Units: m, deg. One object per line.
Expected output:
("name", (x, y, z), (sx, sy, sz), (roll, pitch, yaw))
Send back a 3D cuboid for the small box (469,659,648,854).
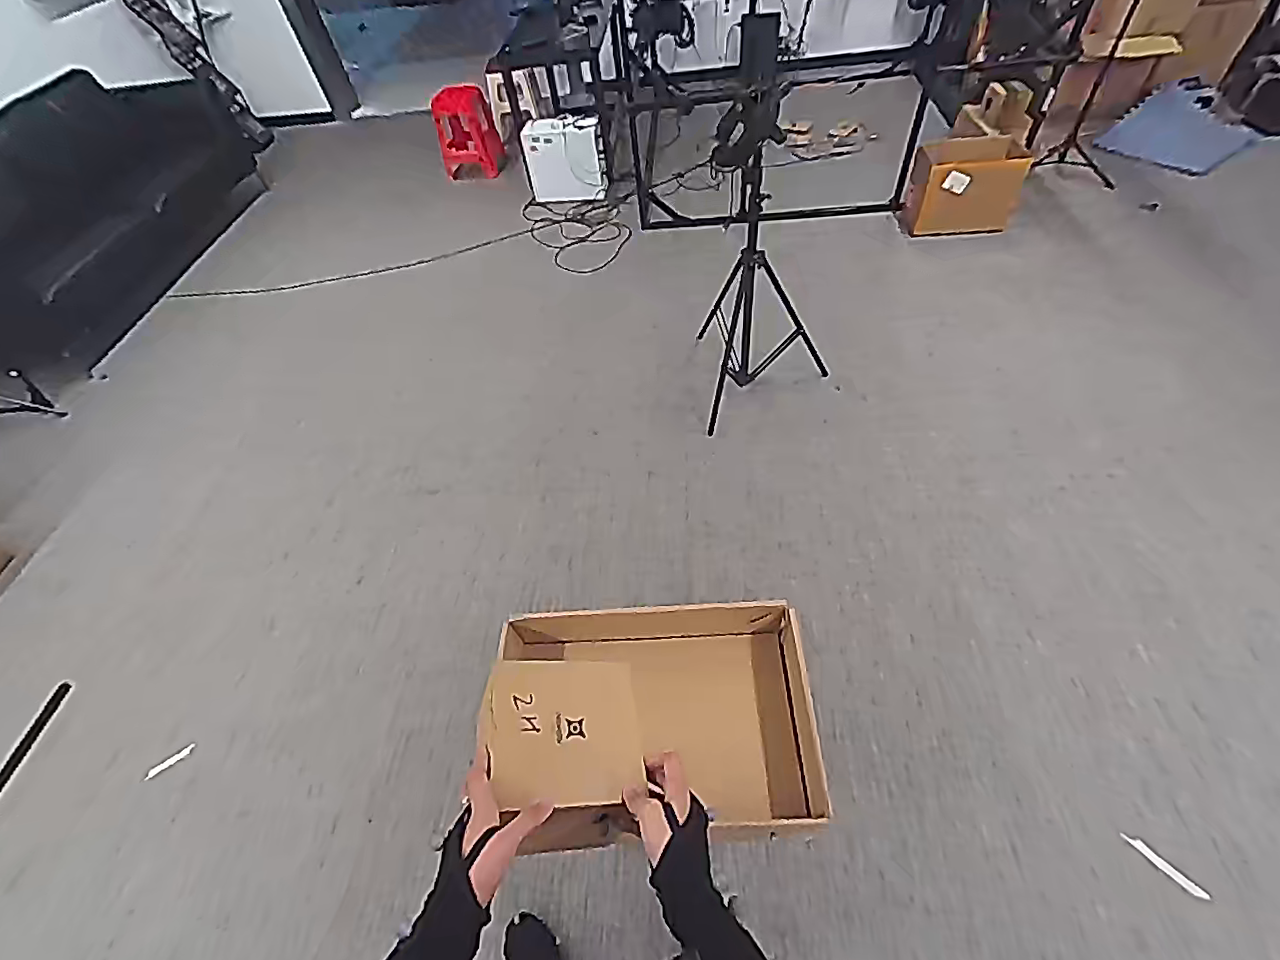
("small box", (-0.107, 0.339, 0.667), (0.179, 0.176, 0.168), (7, 41, -18))
